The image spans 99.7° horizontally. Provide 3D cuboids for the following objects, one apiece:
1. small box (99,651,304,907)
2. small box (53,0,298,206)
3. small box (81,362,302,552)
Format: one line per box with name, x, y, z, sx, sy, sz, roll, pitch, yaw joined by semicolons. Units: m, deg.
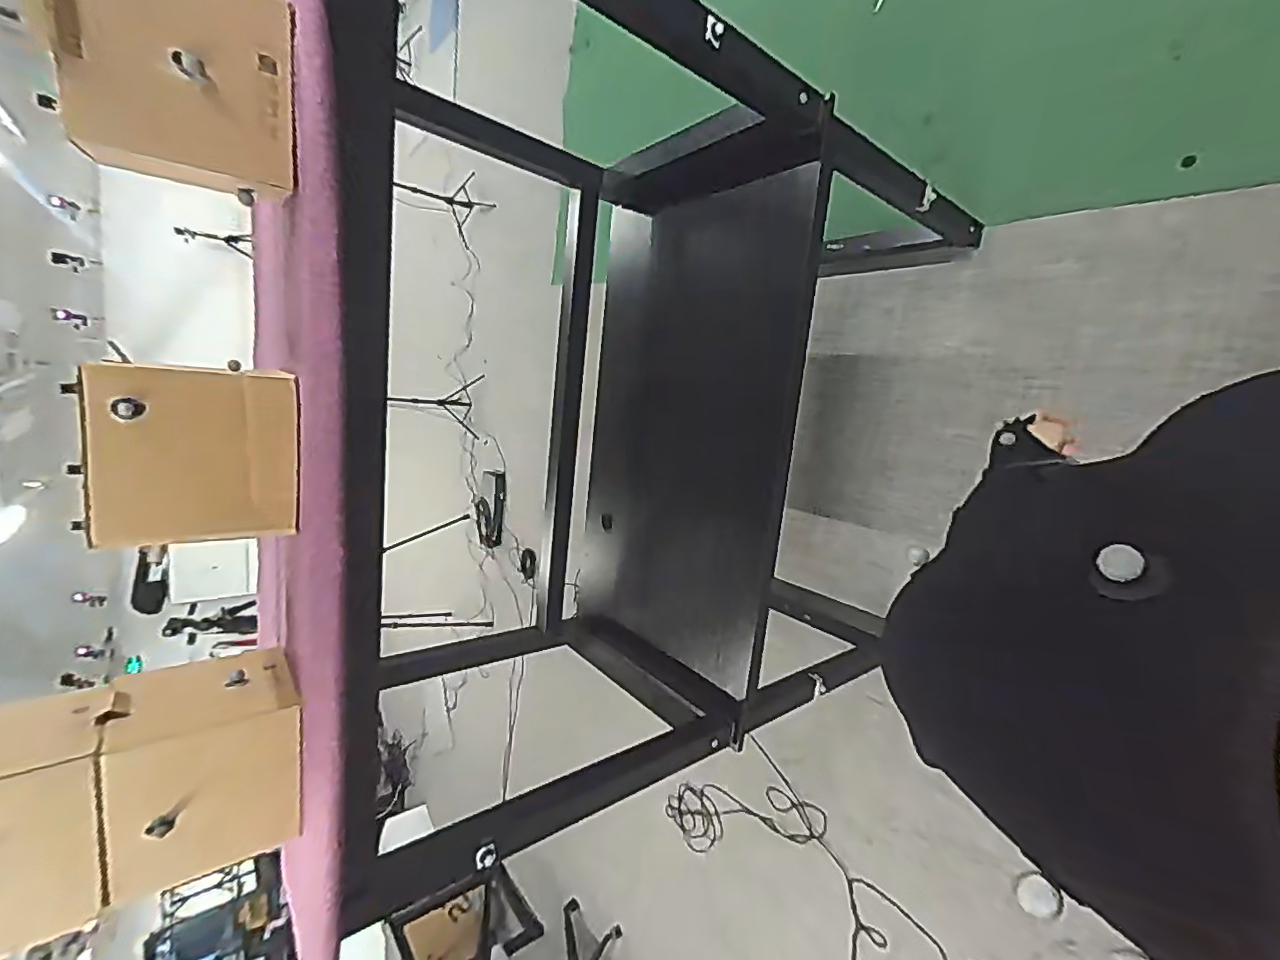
small box;-0.504;0.328;0.637;0.168;0.176;0.179;15;102;48
small box;-0.450;-0.389;0.545;0.179;0.176;0.168;27;113;49
small box;-0.479;-0.033;0.600;0.168;0.176;0.179;16;103;51
